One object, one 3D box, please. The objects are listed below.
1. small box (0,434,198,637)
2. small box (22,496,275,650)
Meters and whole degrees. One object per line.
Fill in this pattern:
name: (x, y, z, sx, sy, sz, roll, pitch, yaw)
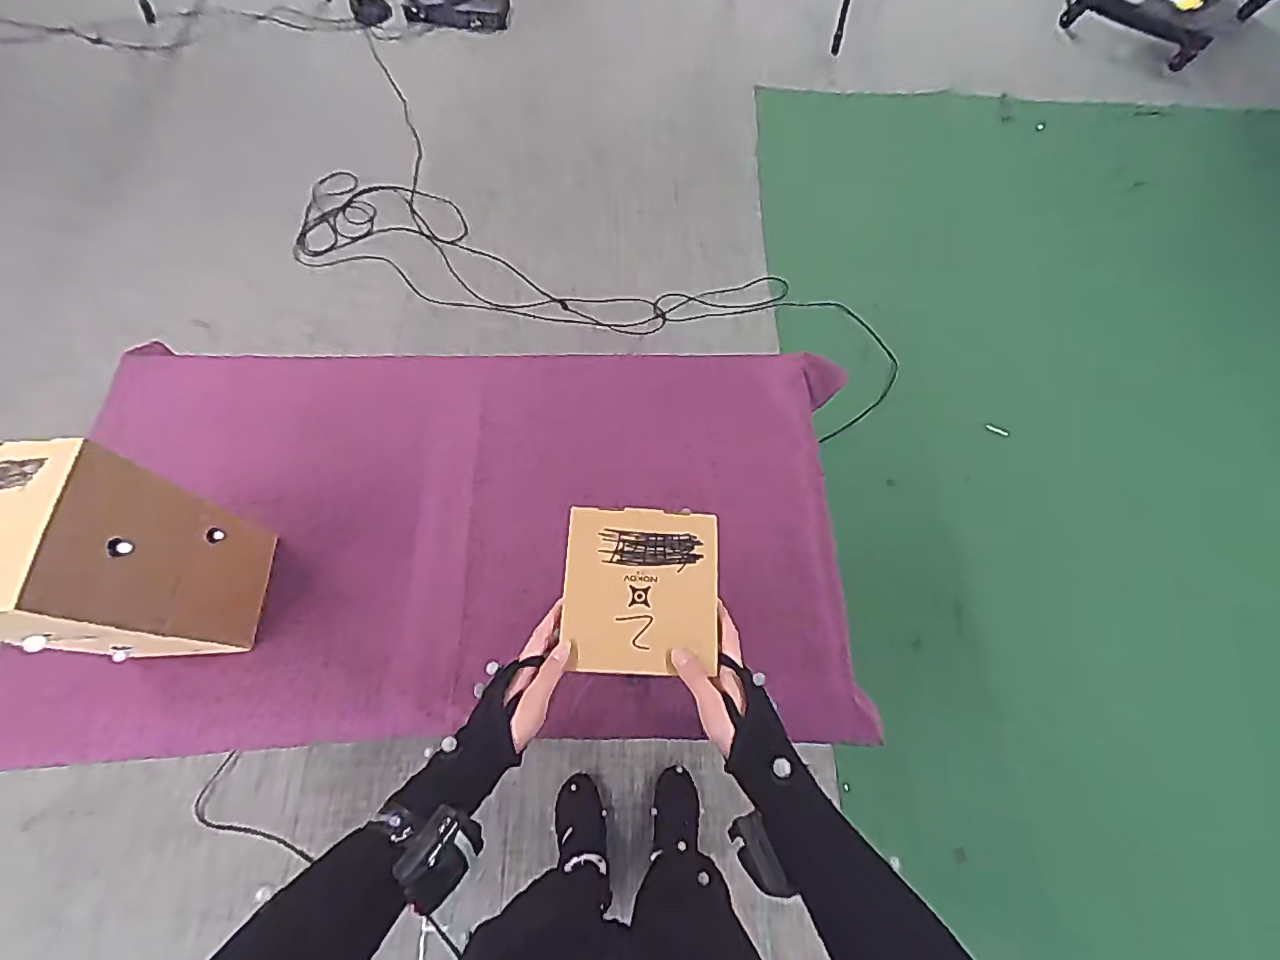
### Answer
small box: (-0.630, 0.066, 0.580, 0.168, 0.176, 0.179, -1, 67, -2)
small box: (-0.635, 0.133, 0.730, 0.168, 0.176, 0.179, -2, 66, -2)
